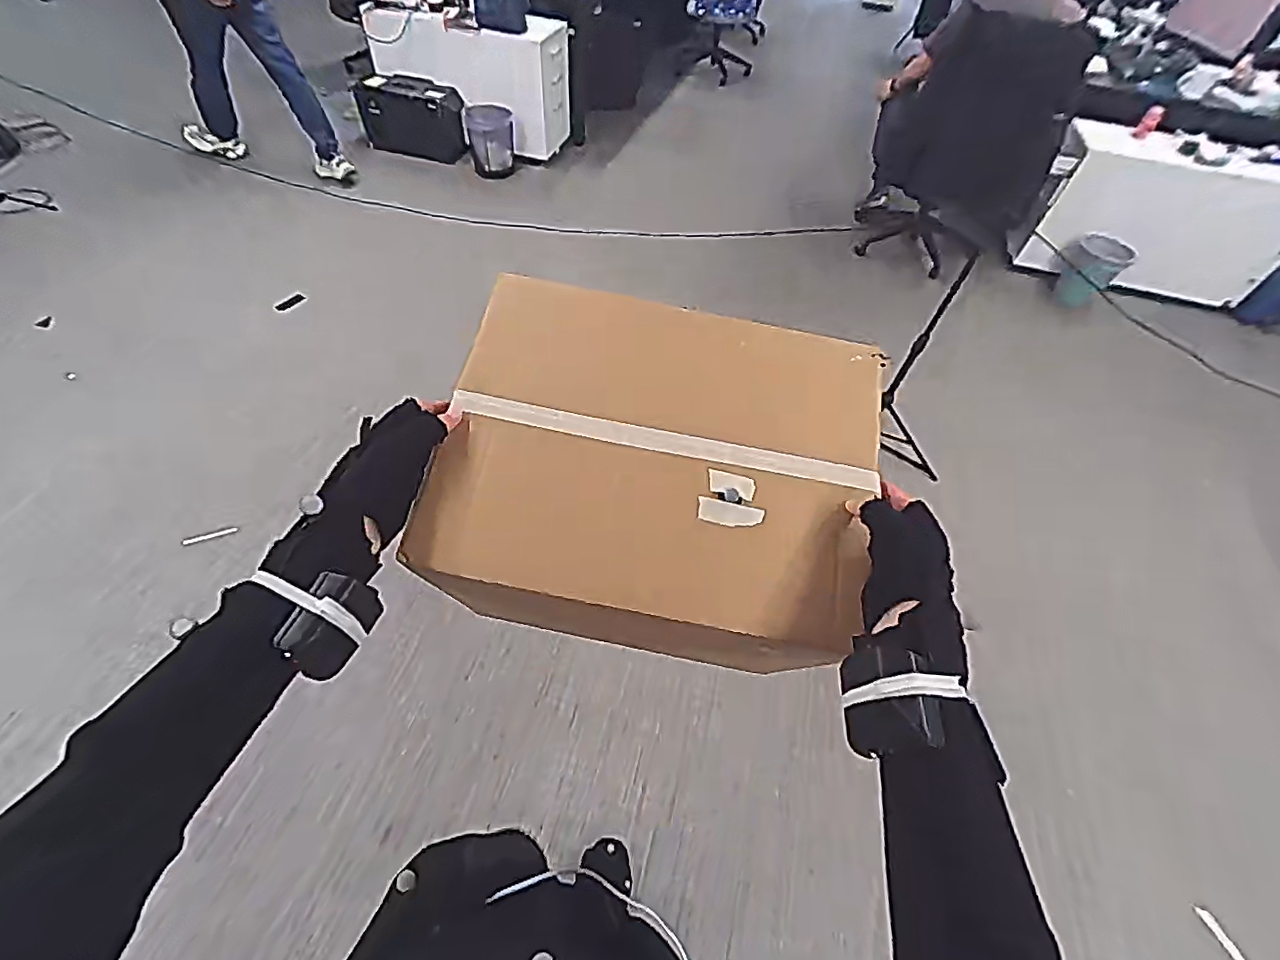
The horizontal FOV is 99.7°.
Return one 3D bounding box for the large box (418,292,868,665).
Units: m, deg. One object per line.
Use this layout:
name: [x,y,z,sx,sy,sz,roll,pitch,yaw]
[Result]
large box: [0.012,0.026,0.661,0.408,0.320,0.320,11,68,0]
